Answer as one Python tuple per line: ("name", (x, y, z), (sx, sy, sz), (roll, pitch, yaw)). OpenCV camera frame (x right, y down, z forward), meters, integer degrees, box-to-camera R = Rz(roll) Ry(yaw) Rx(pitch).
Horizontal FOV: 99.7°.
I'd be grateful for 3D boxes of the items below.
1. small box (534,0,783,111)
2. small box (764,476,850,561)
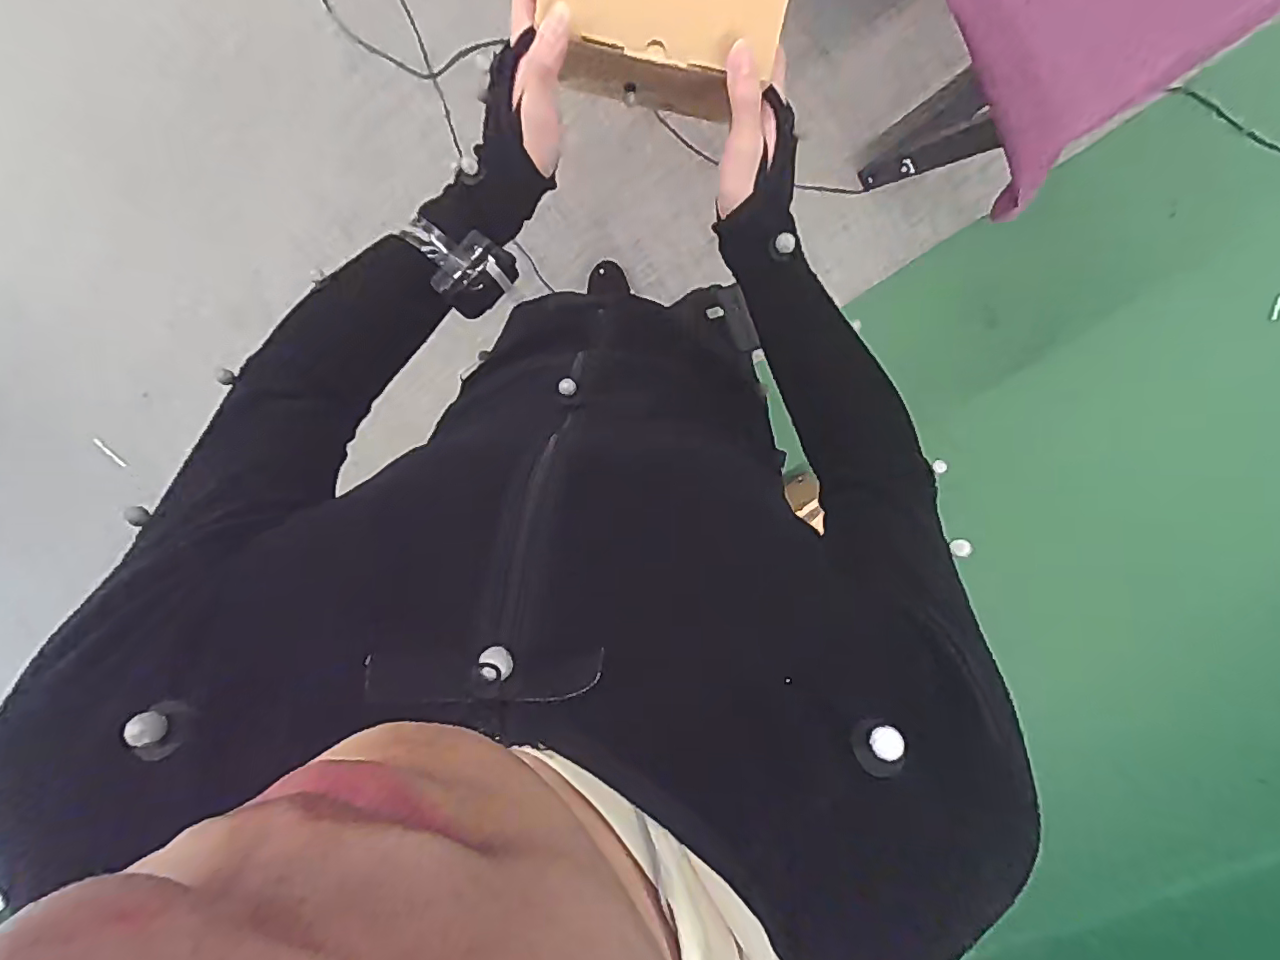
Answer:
("small box", (0.018, -0.404, 0.403), (0.168, 0.176, 0.179), (7, 117, -7))
("small box", (0.503, 0.107, 1.655), (0.168, 0.176, 0.179), (-35, 109, 13))
